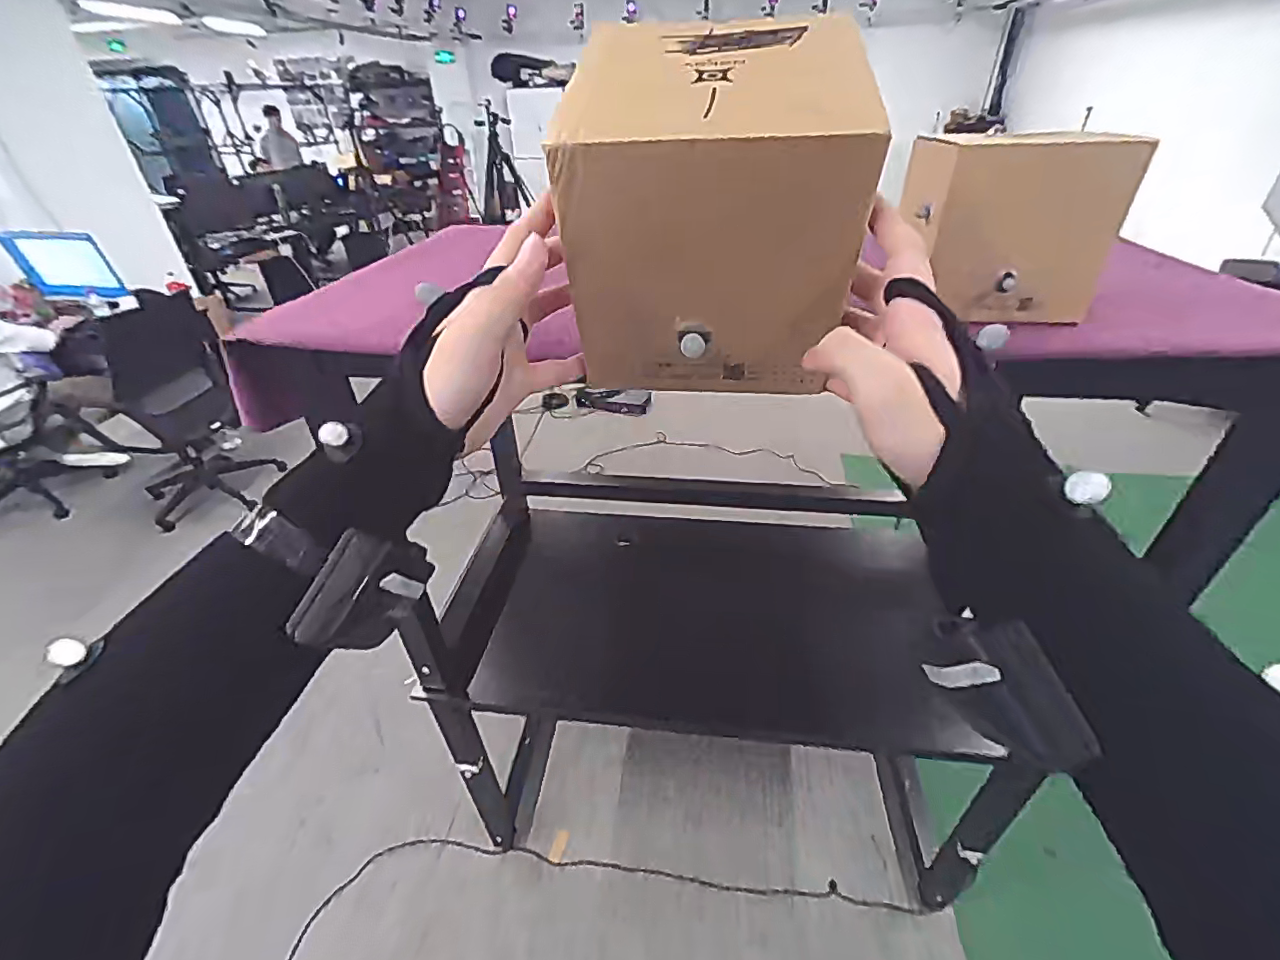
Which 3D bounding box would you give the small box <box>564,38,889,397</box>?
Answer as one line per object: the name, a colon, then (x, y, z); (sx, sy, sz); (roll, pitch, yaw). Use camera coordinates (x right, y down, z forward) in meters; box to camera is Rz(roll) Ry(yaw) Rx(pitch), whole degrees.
small box: (0.055, -0.182, 0.383); (0.168, 0.176, 0.179); (3, 54, 7)
